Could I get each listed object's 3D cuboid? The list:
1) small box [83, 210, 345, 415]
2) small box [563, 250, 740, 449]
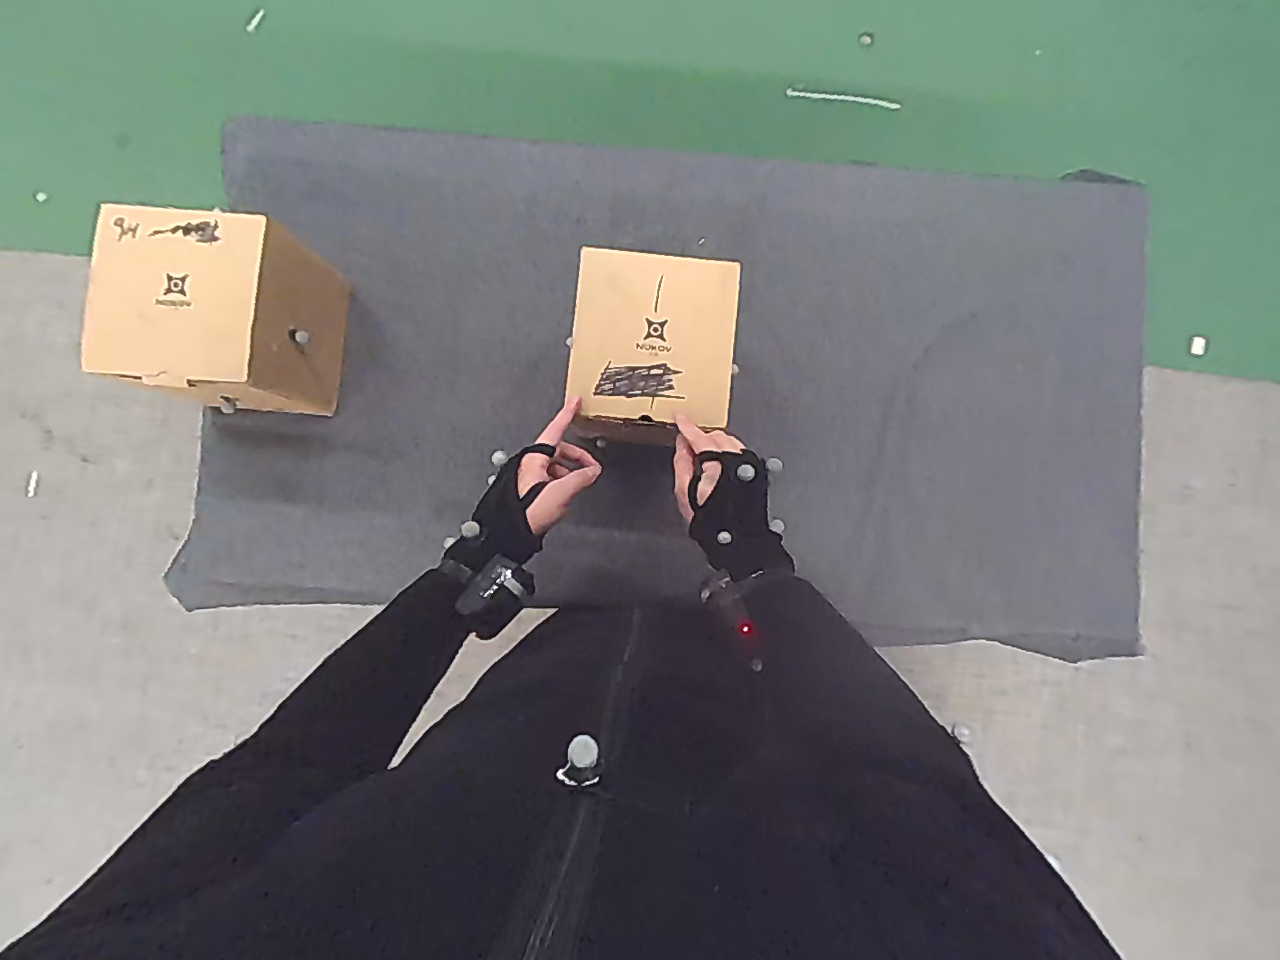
[{"bbox_3d":[-0.461,-0.173,0.614,0.168,0.176,0.179,4,87,-2],"label":"small box"},{"bbox_3d":[0.012,-0.134,0.620,0.168,0.176,0.179,5,86,-1],"label":"small box"}]
